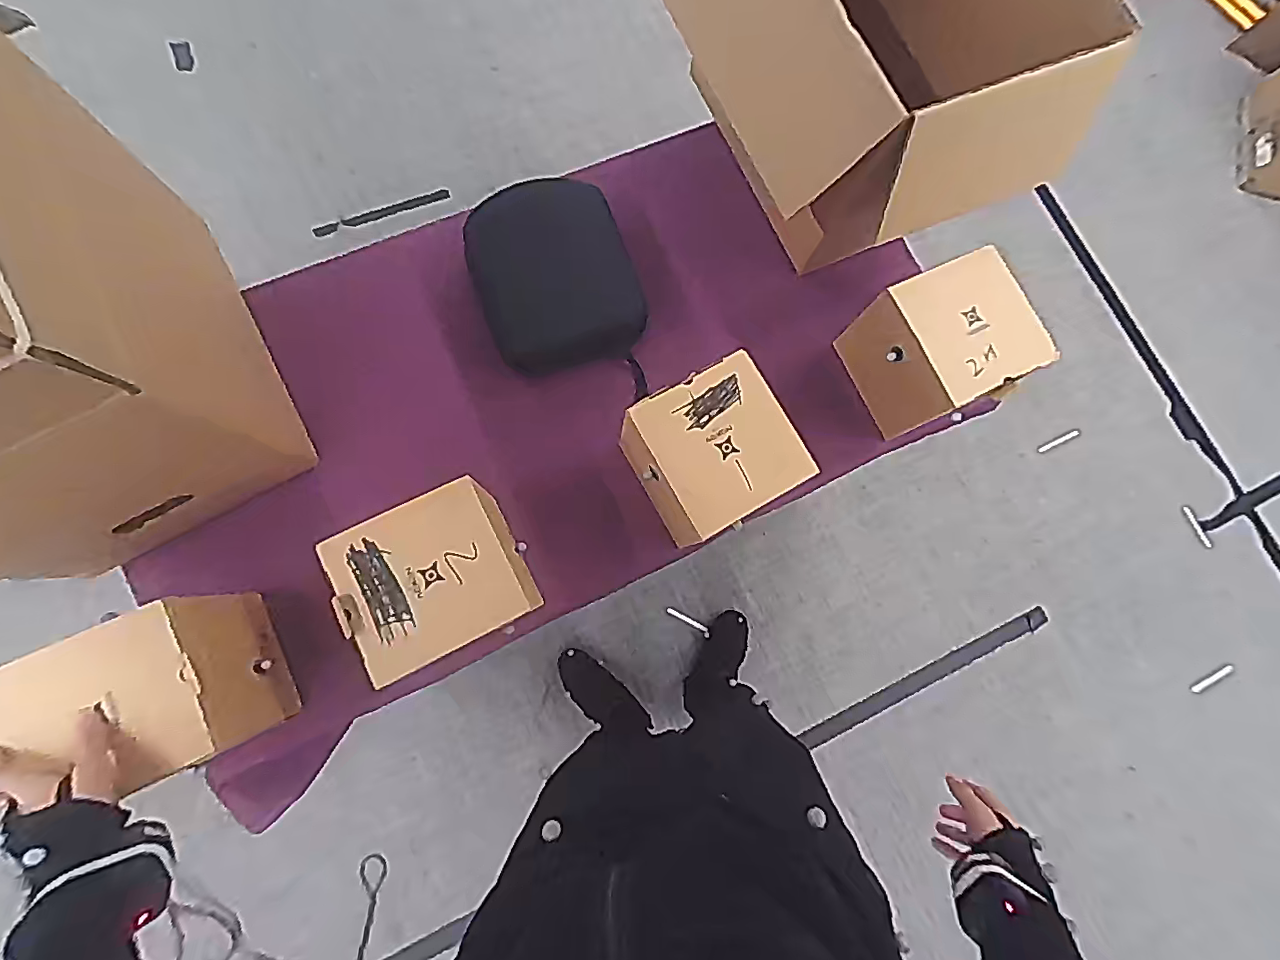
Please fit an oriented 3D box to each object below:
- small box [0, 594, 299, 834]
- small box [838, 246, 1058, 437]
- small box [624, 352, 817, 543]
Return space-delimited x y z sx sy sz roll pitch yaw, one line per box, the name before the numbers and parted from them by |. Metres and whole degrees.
small box | -0.531 0.239 0.603 0.179 0.176 0.168 -25 83 -10
small box | 0.412 -0.182 0.757 0.168 0.176 0.179 -24 83 -7
small box | 0.089 -0.031 0.705 0.168 0.176 0.179 -29 84 -9
